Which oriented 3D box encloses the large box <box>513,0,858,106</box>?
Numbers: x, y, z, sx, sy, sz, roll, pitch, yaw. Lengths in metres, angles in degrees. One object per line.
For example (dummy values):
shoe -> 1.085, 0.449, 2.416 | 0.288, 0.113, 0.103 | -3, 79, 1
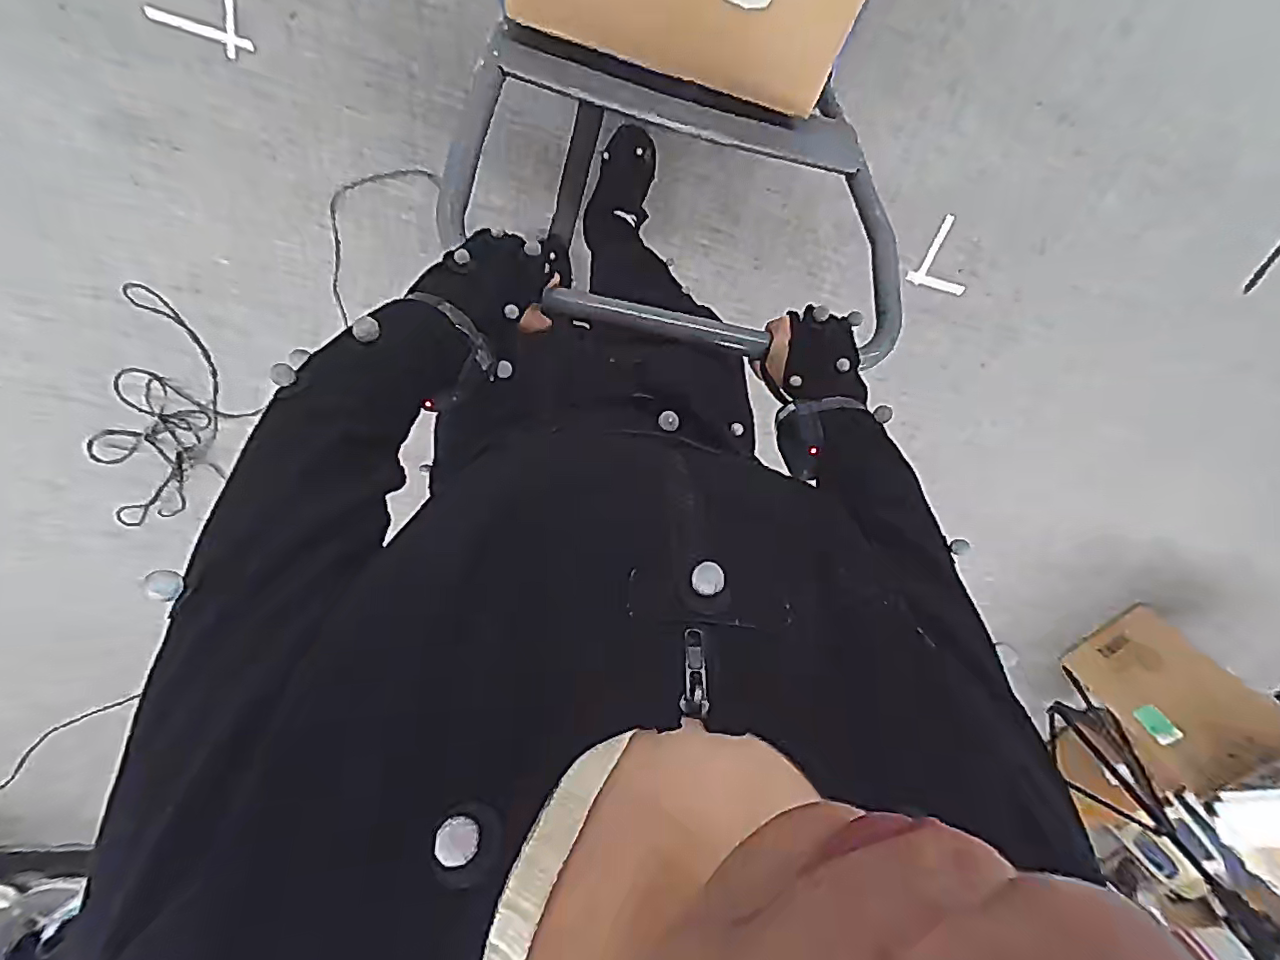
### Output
large box -> 0.072, -0.735, 0.657 | 0.408, 0.320, 0.320 | 8, 143, -13
